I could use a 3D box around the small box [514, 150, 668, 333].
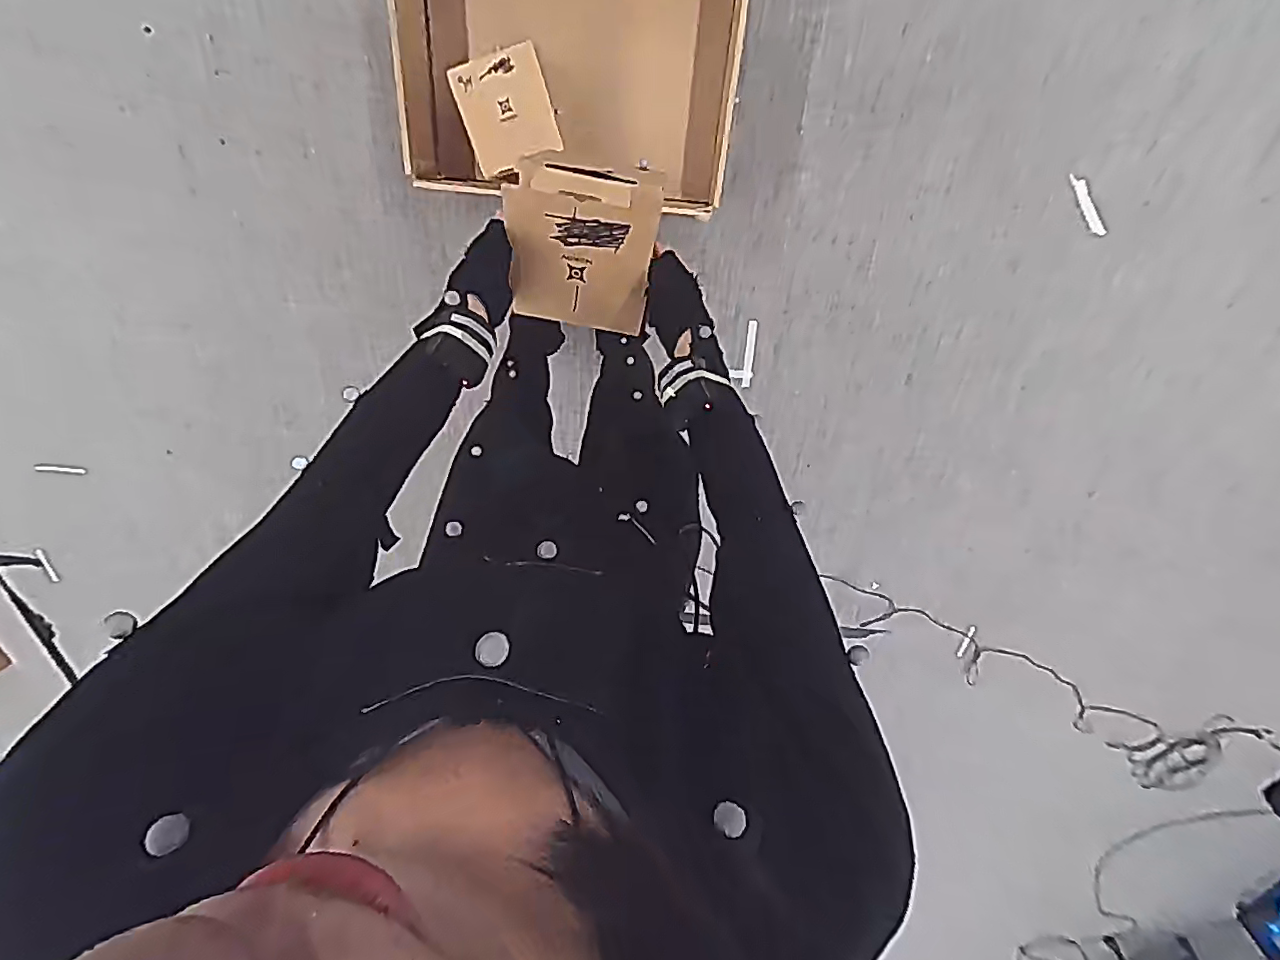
[{"bbox_3d":[-0.060,-0.315,0.704,0.168,0.176,0.179,10,124,-2],"label":"small box"}]
